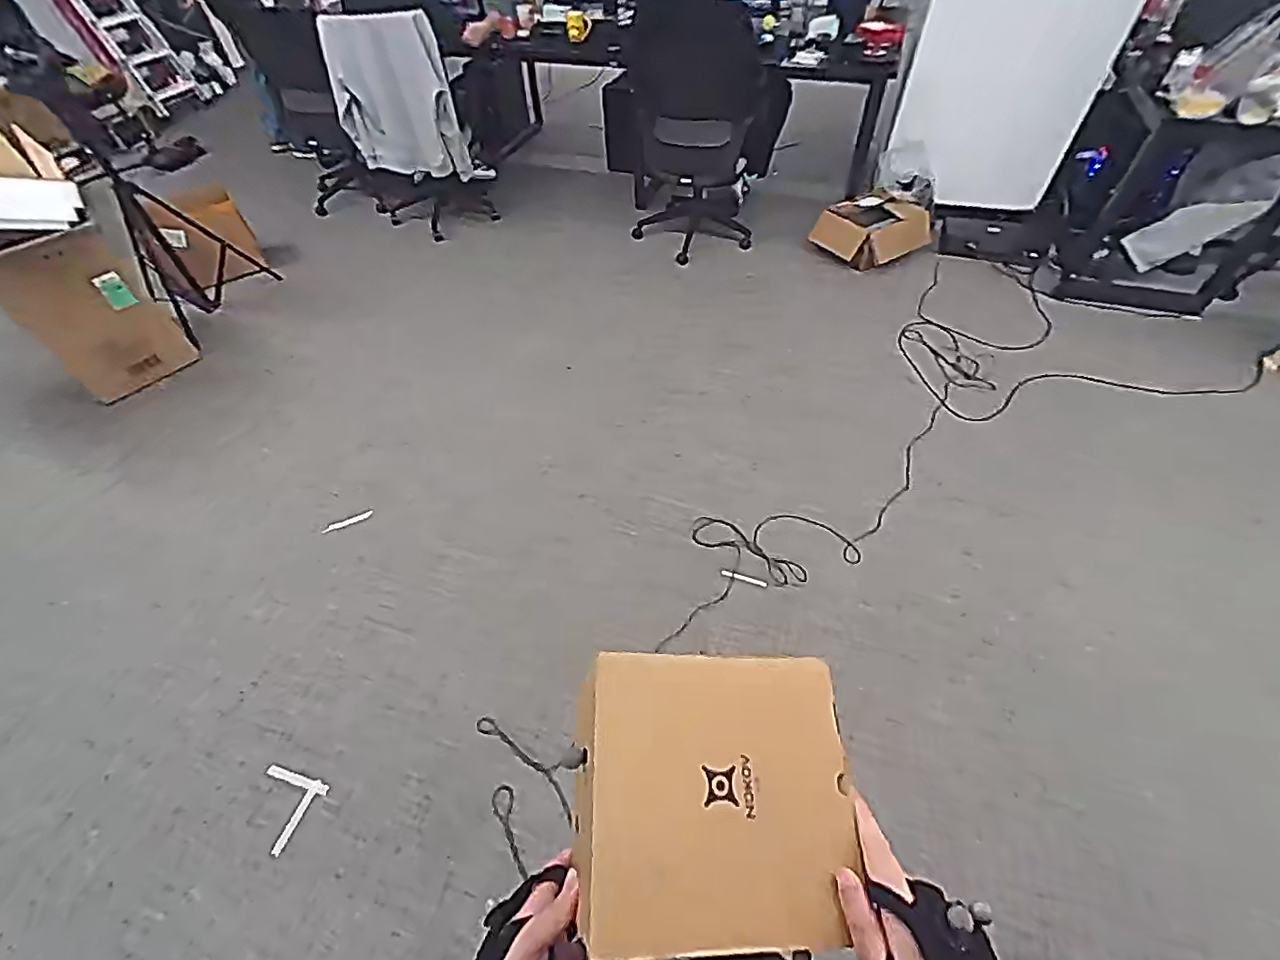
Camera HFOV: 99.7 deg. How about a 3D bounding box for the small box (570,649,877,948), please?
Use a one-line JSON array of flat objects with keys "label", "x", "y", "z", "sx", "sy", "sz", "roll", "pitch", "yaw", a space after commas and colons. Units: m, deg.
[{"label": "small box", "x": 0.040, "y": 0.236, "z": 0.414, "sx": 0.179, "sy": 0.176, "sz": 0.168, "roll": 5, "pitch": 57, "yaw": -10}]
